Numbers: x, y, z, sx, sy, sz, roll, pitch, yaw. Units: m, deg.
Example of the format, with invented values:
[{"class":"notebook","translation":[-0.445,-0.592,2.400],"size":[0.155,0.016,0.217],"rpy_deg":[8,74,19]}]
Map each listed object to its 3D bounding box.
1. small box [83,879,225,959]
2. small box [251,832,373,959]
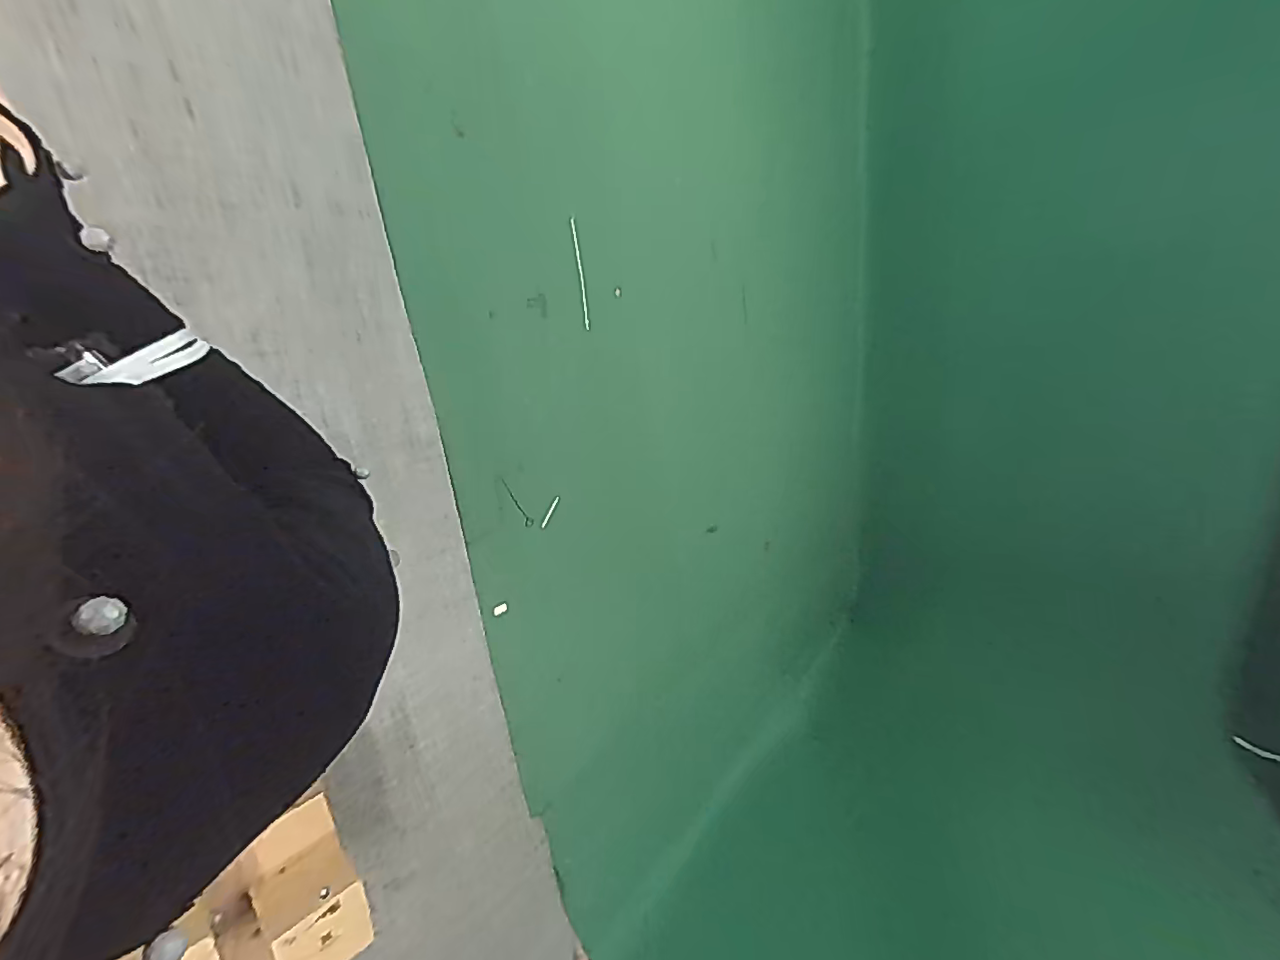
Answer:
[{"class":"small box","translation":[-0.849,0.859,0.955],"size":[0.168,0.176,0.179],"rpy_deg":[-15,111,-44]},{"class":"small box","translation":[-0.691,0.902,1.141],"size":[0.168,0.176,0.179],"rpy_deg":[-18,113,-46]}]
